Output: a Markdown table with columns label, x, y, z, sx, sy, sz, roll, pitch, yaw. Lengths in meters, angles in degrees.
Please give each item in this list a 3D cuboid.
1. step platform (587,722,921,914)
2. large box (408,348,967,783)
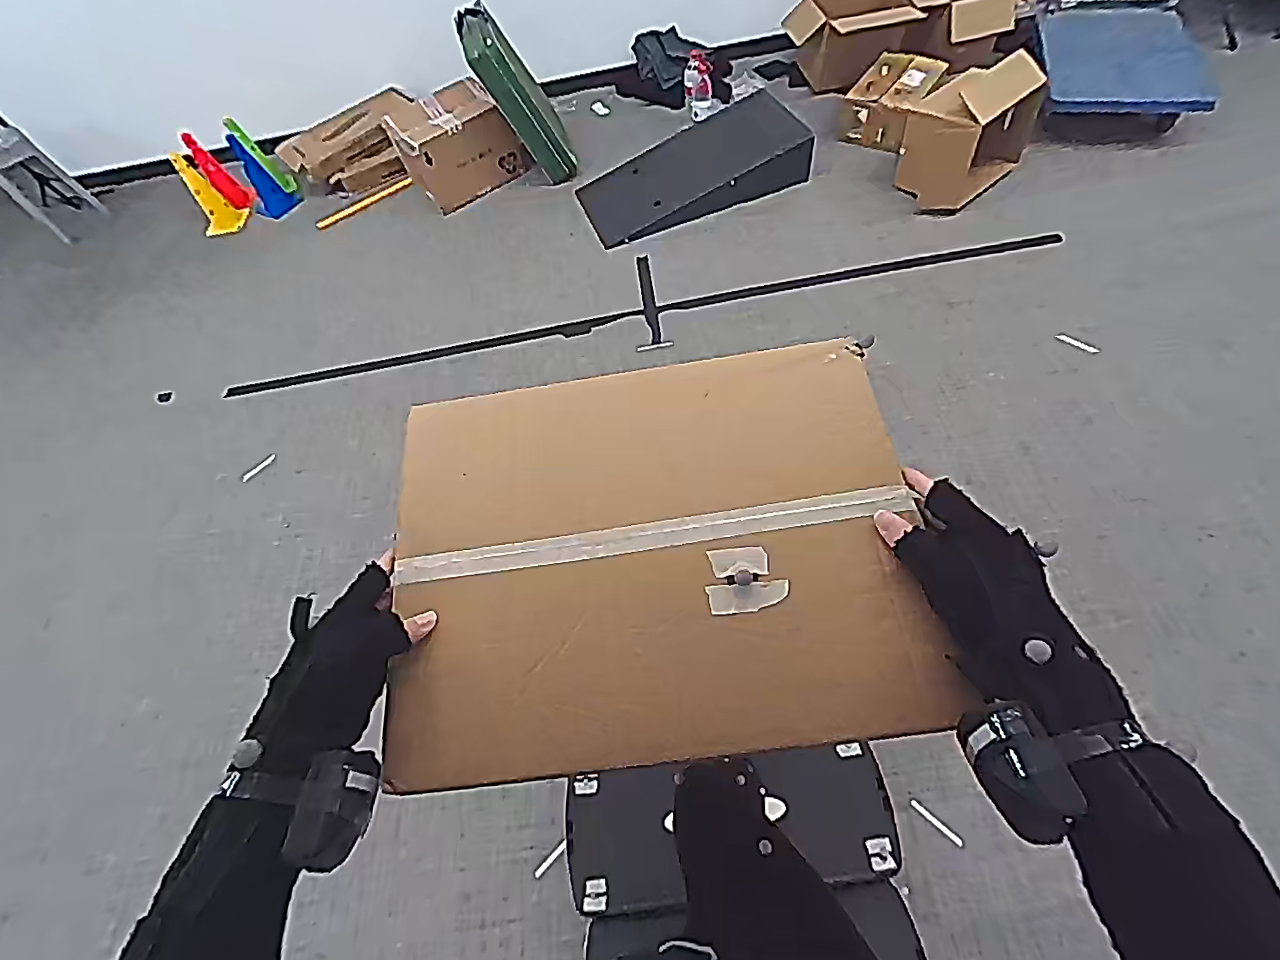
| label | x | y | z | sx | sy | sz | roll | pitch | yaw |
| --- | --- | --- | --- | --- | --- | --- | --- | --- | --- |
| step platform | 0.226 | 0.727 | 1.185 | 0.684 | 0.204 | 0.286 | -10 | 59 | 2 |
| large box | 0.026 | 0.109 | 0.572 | 0.408 | 0.320 | 0.320 | -9 | 65 | 3 |
